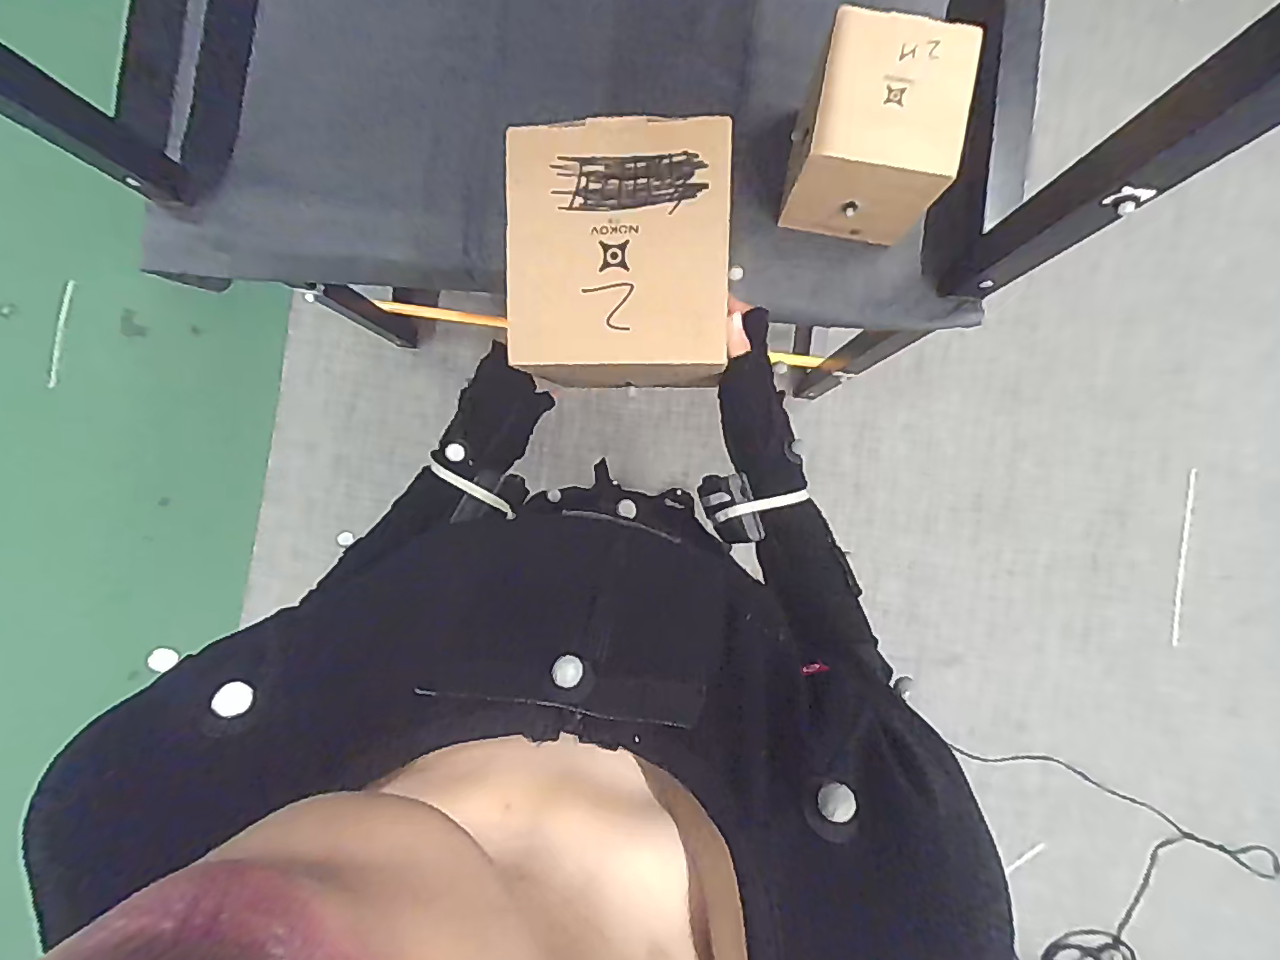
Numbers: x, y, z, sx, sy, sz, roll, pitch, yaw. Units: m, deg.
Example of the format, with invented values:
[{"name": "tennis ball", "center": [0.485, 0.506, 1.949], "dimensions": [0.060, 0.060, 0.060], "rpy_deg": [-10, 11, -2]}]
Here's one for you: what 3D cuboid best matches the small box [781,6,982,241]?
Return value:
[{"name": "small box", "center": [0.287, -0.431, 0.684], "dimensions": [0.168, 0.176, 0.179], "rpy_deg": [11, 89, 1]}]
